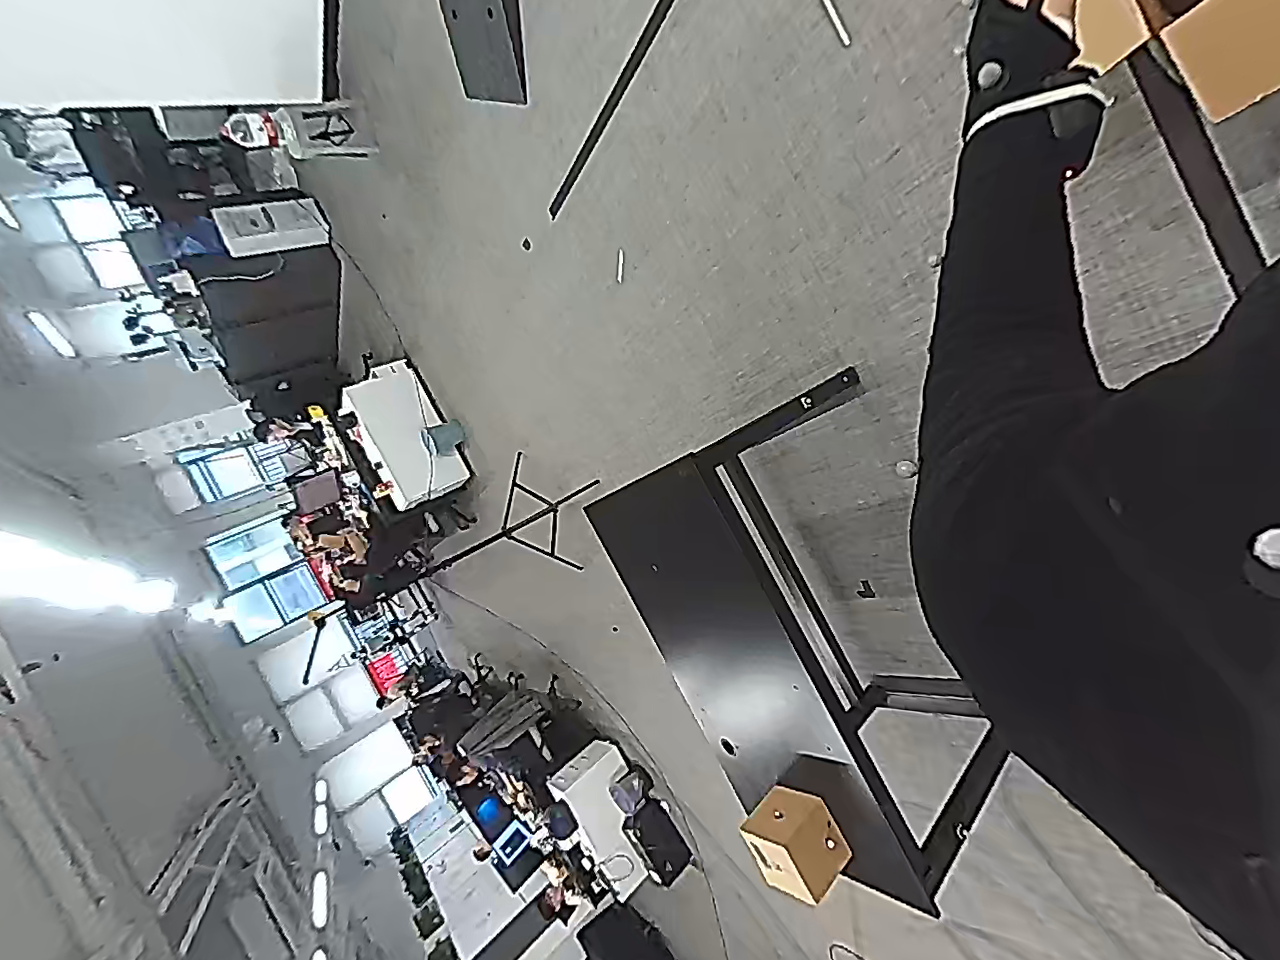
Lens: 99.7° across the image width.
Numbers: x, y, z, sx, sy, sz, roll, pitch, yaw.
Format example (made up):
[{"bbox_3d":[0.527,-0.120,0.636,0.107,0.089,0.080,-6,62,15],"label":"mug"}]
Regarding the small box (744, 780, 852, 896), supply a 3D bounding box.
[{"bbox_3d":[0.415,0.923,1.418,0.168,0.176,0.179,60,147,1],"label":"small box"}]
